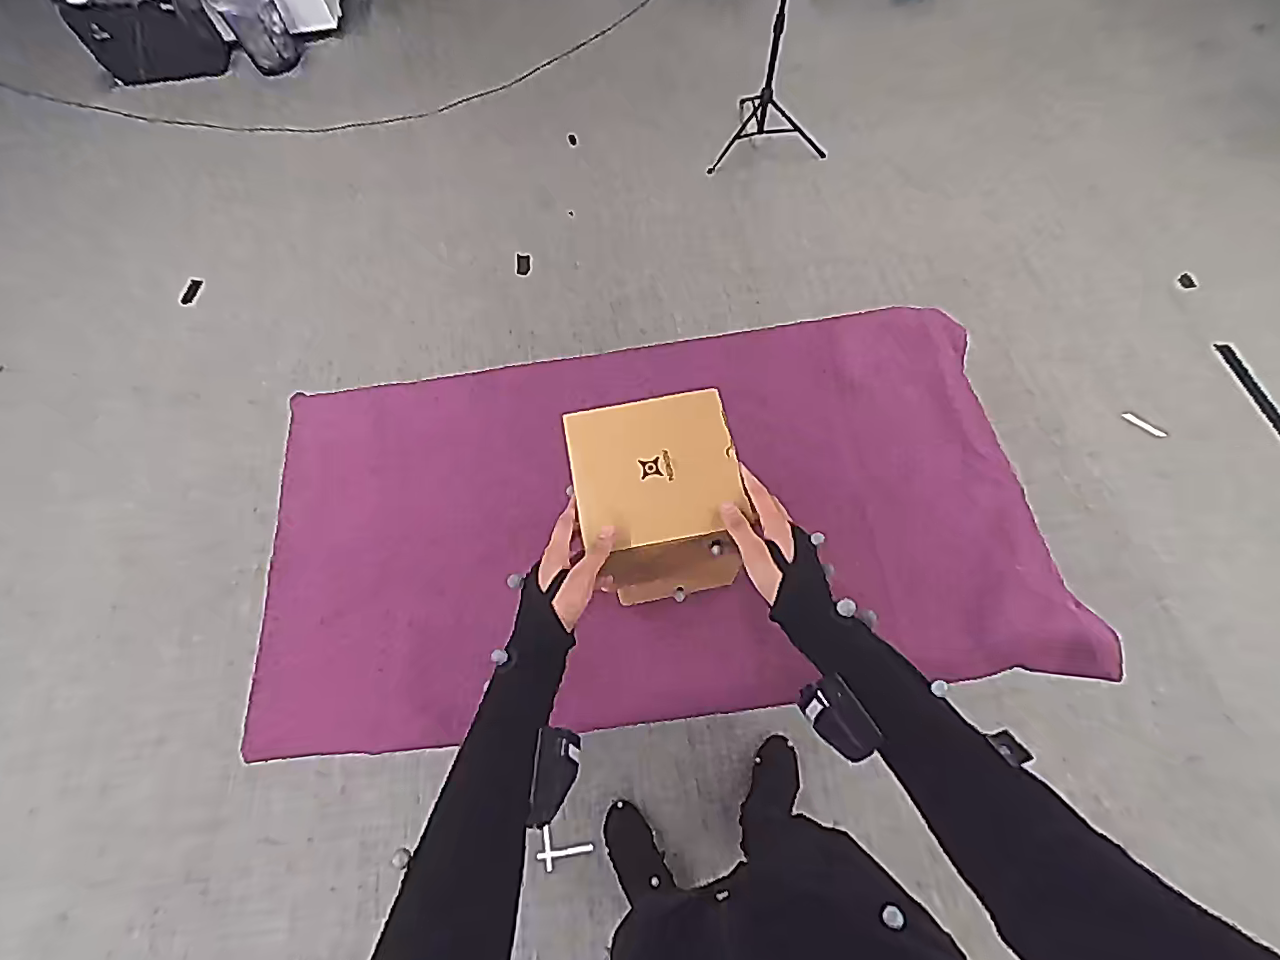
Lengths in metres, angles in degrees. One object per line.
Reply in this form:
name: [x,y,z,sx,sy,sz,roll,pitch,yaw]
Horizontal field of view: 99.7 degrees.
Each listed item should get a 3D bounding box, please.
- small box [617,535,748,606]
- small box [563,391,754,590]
small box: [0.040,0.074,0.789,0.179,0.176,0.168,-11,65,-3]
small box: [0.018,0.021,0.633,0.179,0.176,0.168,-11,67,-3]
